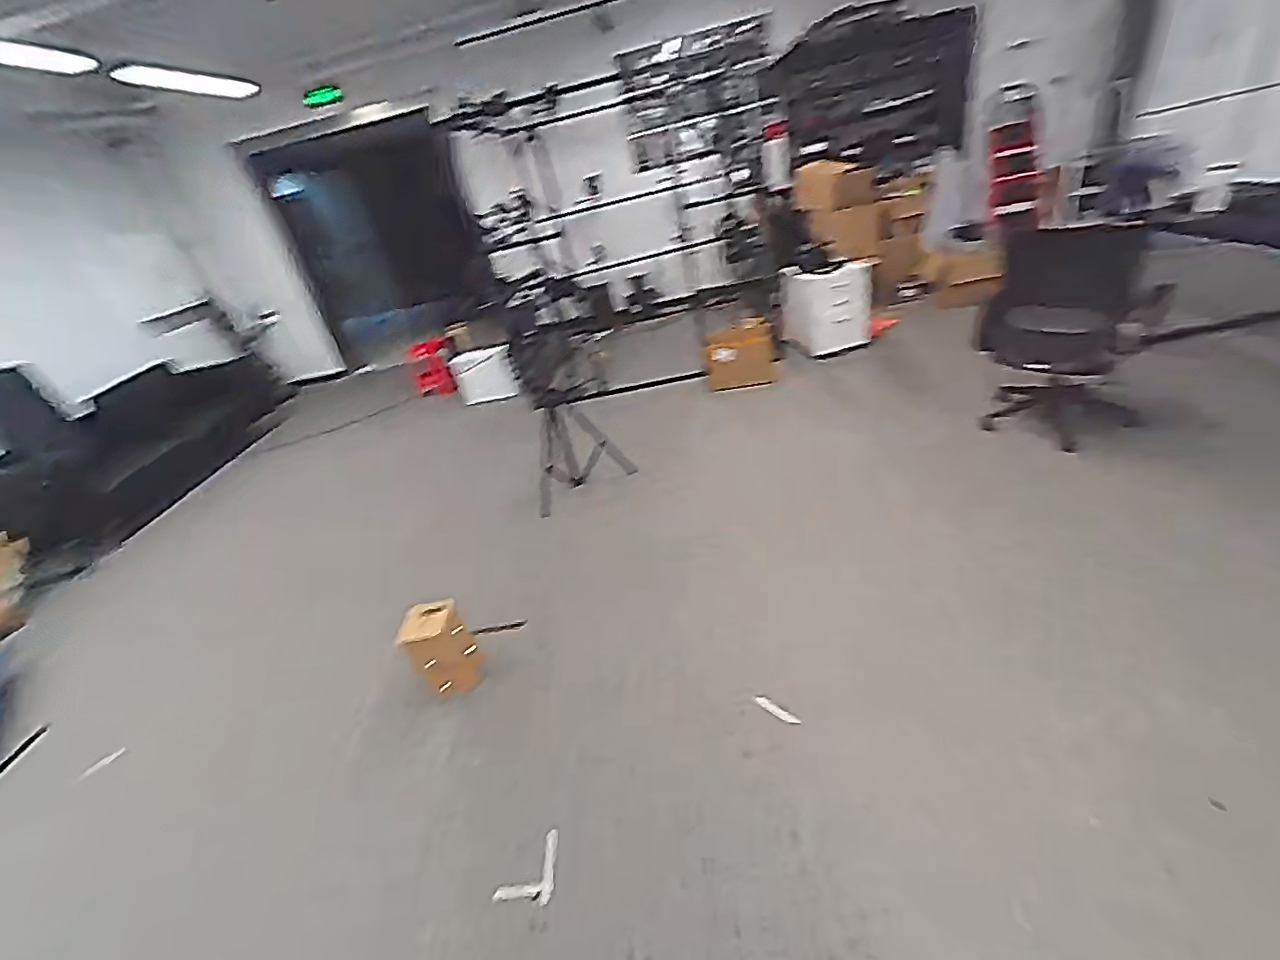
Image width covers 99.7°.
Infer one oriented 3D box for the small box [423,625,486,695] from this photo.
[{"bbox_3d":[-0.709,0.697,2.090,0.168,0.176,0.179,-13,30,2],"label":"small box"}]
